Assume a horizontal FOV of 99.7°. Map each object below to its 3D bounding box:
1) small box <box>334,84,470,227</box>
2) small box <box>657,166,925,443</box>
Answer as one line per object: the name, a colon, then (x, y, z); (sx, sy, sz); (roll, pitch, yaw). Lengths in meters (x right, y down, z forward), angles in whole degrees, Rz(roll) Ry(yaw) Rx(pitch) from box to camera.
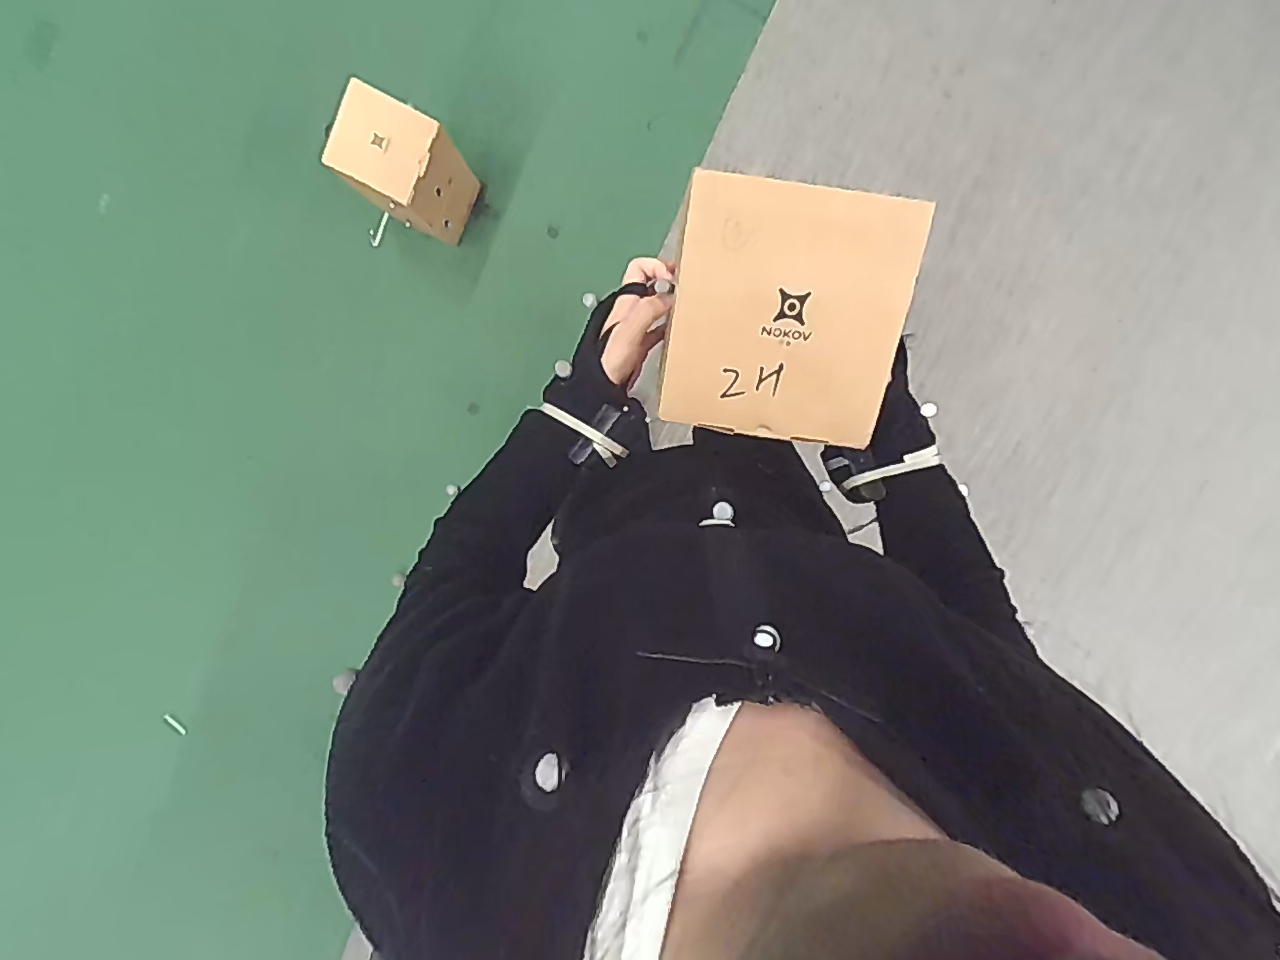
small box: (-0.479, -0.651, 1.112); (0.179, 0.176, 0.168); (25, 98, -6)
small box: (0.107, -0.146, 0.468); (0.168, 0.176, 0.179); (8, 109, 1)
